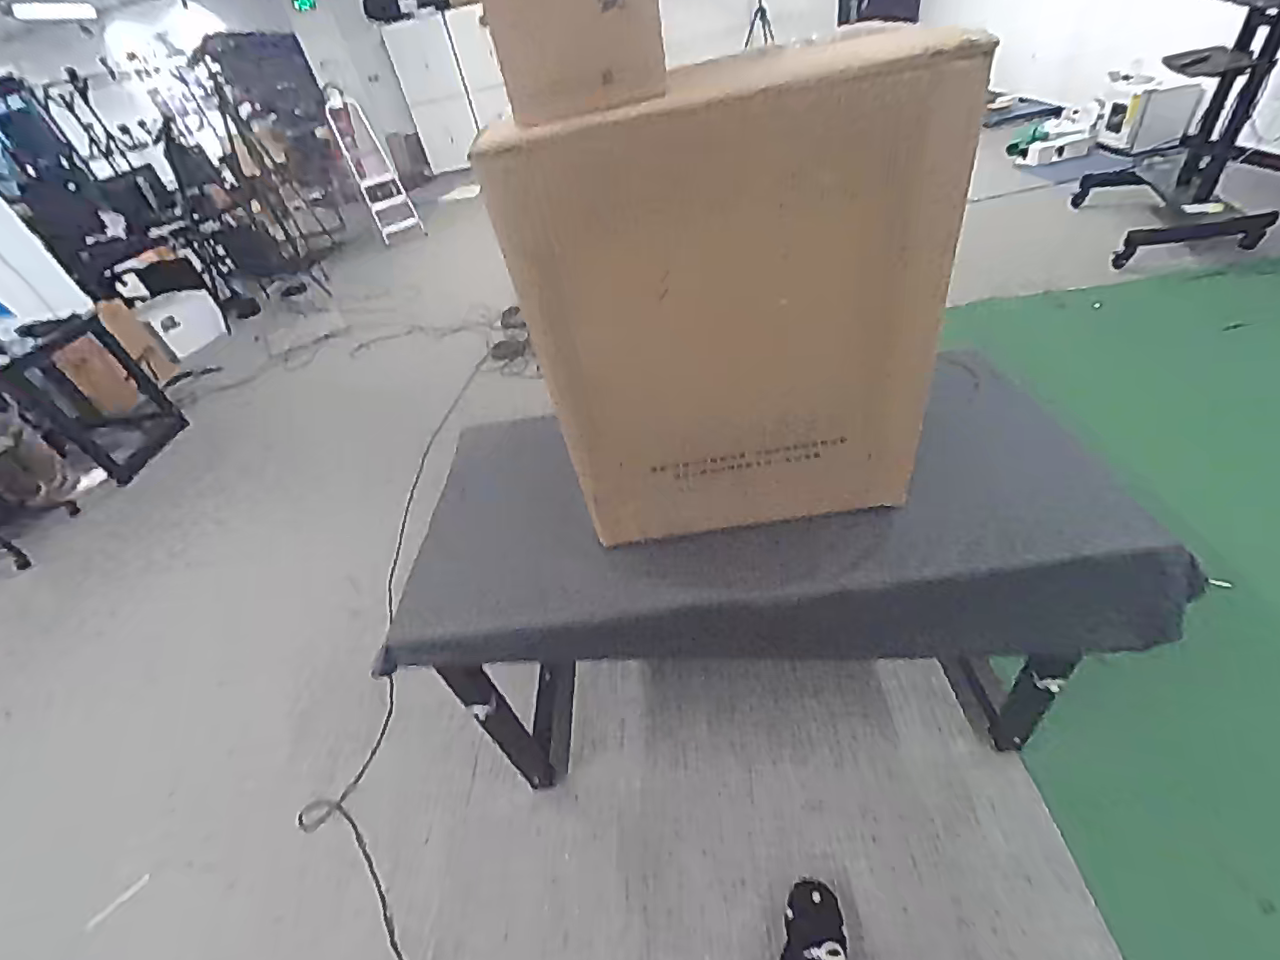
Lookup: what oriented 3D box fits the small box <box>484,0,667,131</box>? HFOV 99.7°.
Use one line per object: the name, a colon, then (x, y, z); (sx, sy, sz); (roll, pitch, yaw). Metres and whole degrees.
small box: (-0.066, -0.494, 0.582); (0.168, 0.176, 0.179); (-9, 41, 3)
